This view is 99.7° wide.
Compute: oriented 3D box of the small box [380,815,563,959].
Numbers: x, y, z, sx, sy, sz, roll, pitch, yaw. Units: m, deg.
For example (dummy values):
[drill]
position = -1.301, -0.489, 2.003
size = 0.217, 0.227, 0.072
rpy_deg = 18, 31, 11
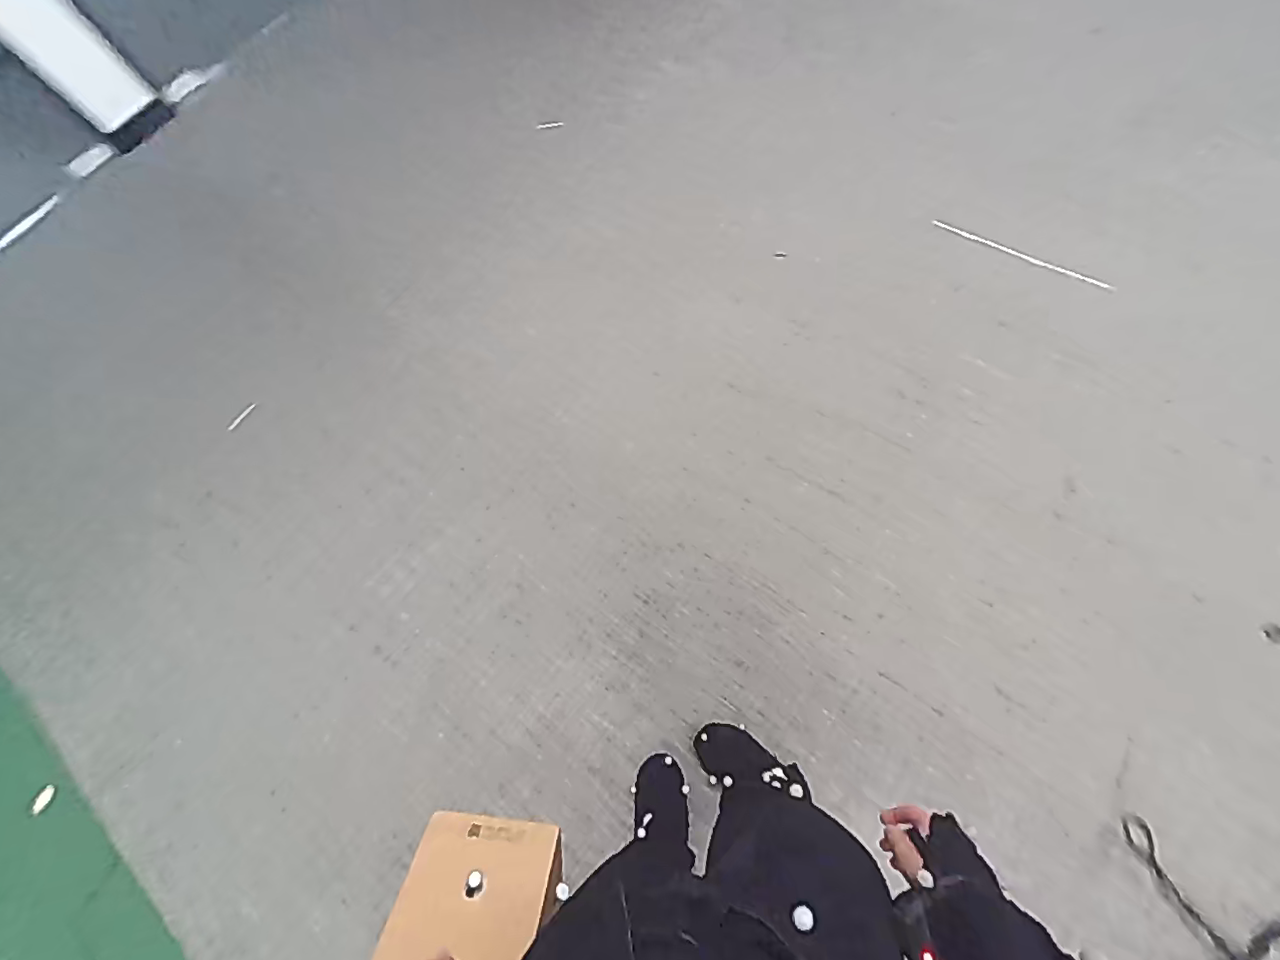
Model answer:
[small box]
position = -0.191, 0.540, 0.655
size = 0.168, 0.179, 0.176
rpy_deg = 5, 29, 3
